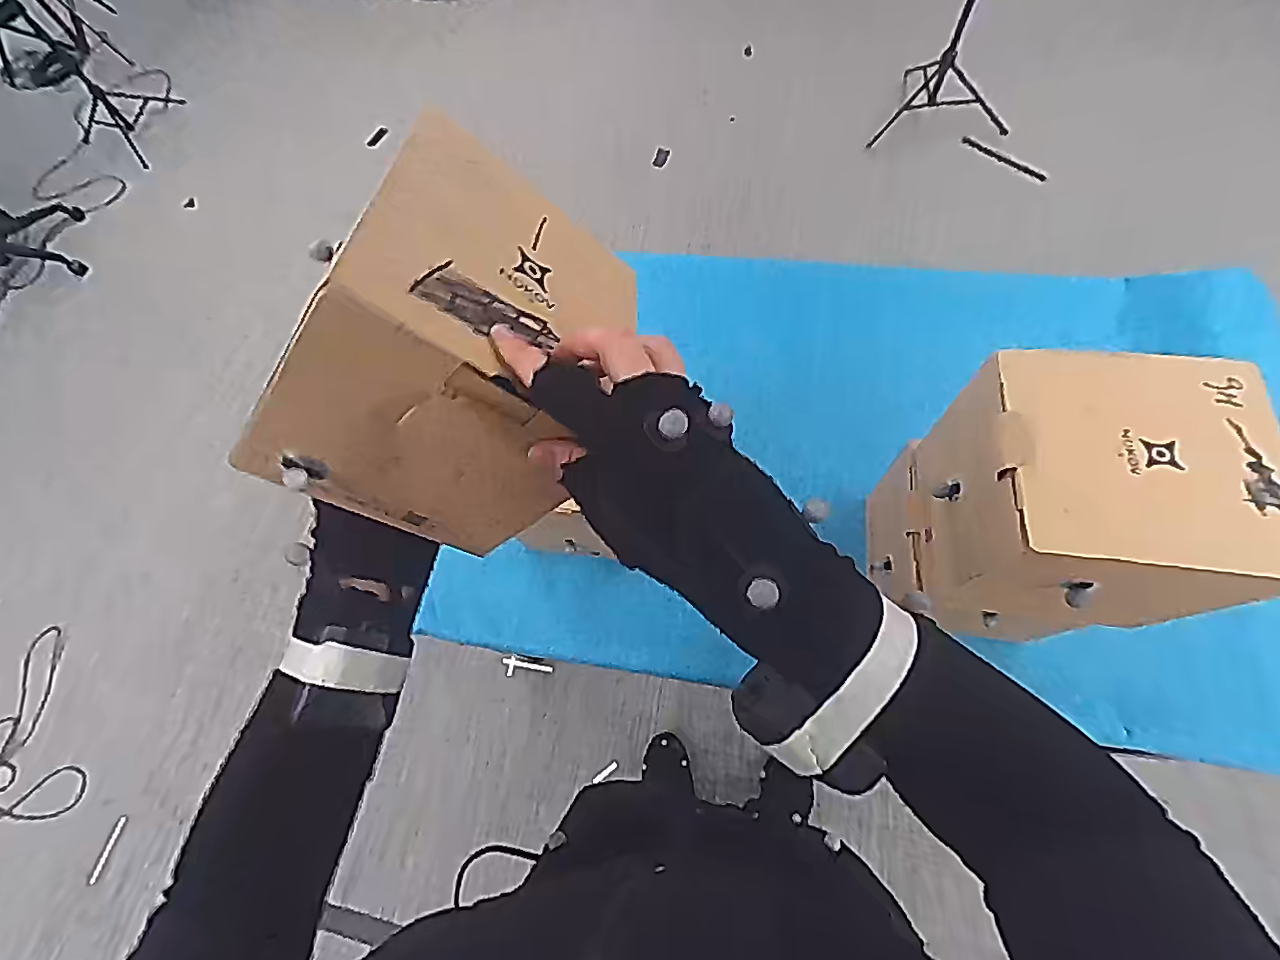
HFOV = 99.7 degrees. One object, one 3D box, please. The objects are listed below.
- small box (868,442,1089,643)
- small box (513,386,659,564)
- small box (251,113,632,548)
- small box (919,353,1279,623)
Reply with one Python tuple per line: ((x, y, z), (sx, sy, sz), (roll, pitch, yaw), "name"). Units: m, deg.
((0.359, 0.075, 0.592), (0.179, 0.176, 0.168), (6, 67, 10), "small box")
((-0.074, -0.008, 0.685), (0.168, 0.176, 0.179), (9, 69, 12), "small box")
((-0.123, -0.076, 0.354), (0.176, 0.168, 0.179), (-33, 43, 39), "small box")
((0.347, 0.015, 0.442), (0.179, 0.176, 0.168), (3, 66, 8), "small box")
